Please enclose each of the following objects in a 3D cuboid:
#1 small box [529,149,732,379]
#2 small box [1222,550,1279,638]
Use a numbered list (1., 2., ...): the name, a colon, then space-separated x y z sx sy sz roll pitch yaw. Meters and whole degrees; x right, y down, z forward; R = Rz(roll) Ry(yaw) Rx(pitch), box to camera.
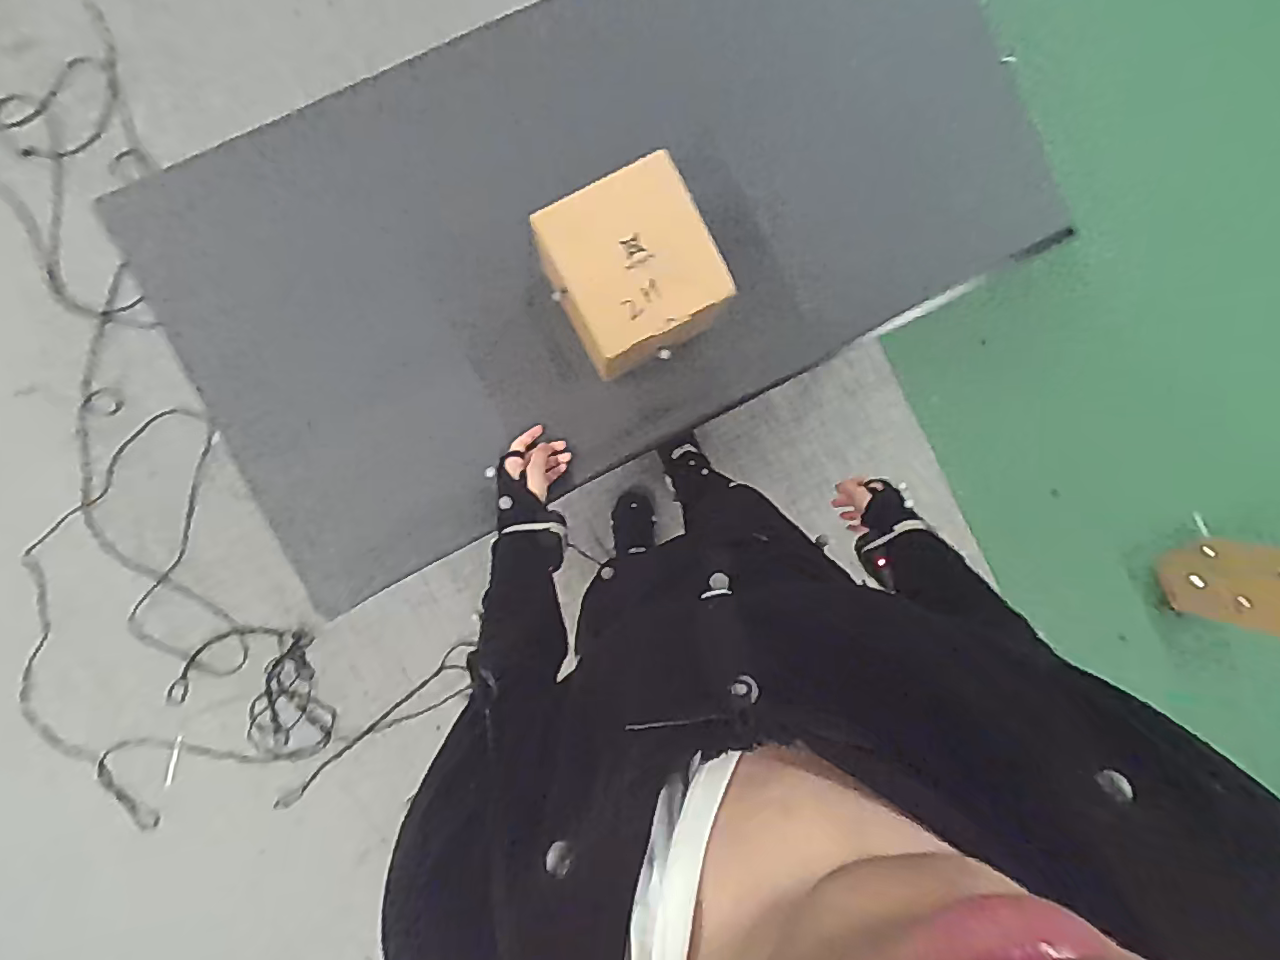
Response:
1. small box: -0.016 -0.245 0.659 0.168 0.176 0.179 -28 93 -3
2. small box: 1.671 0.294 1.378 0.179 0.176 0.168 -28 94 -4
